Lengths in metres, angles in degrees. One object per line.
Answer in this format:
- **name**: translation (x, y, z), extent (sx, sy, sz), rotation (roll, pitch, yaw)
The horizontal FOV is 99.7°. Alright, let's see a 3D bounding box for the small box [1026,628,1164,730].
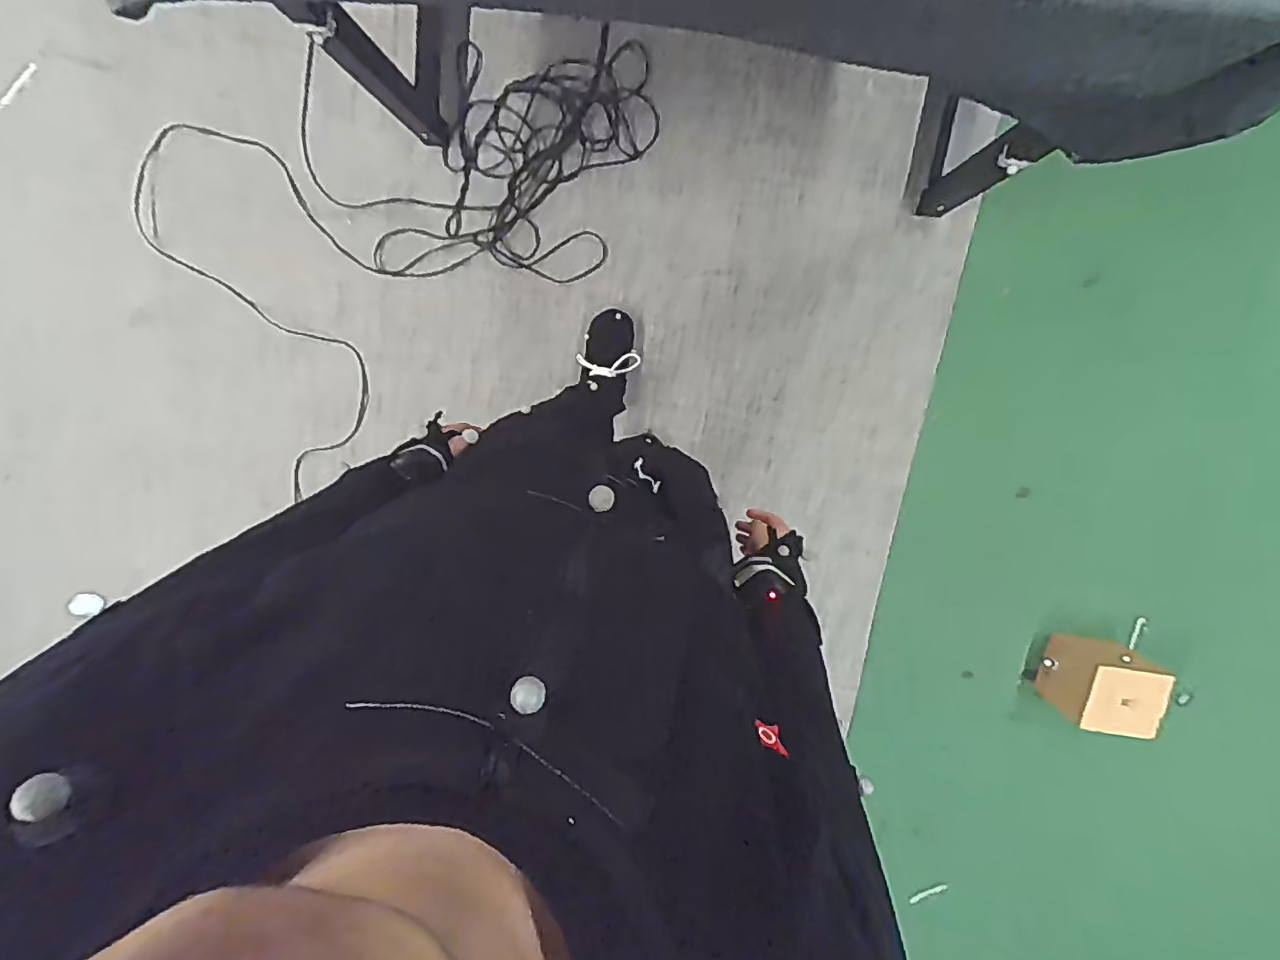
- **small box**: translation (1.114, 0.485, 1.338), extent (0.179, 0.176, 0.168), rotation (8, 101, 1)
